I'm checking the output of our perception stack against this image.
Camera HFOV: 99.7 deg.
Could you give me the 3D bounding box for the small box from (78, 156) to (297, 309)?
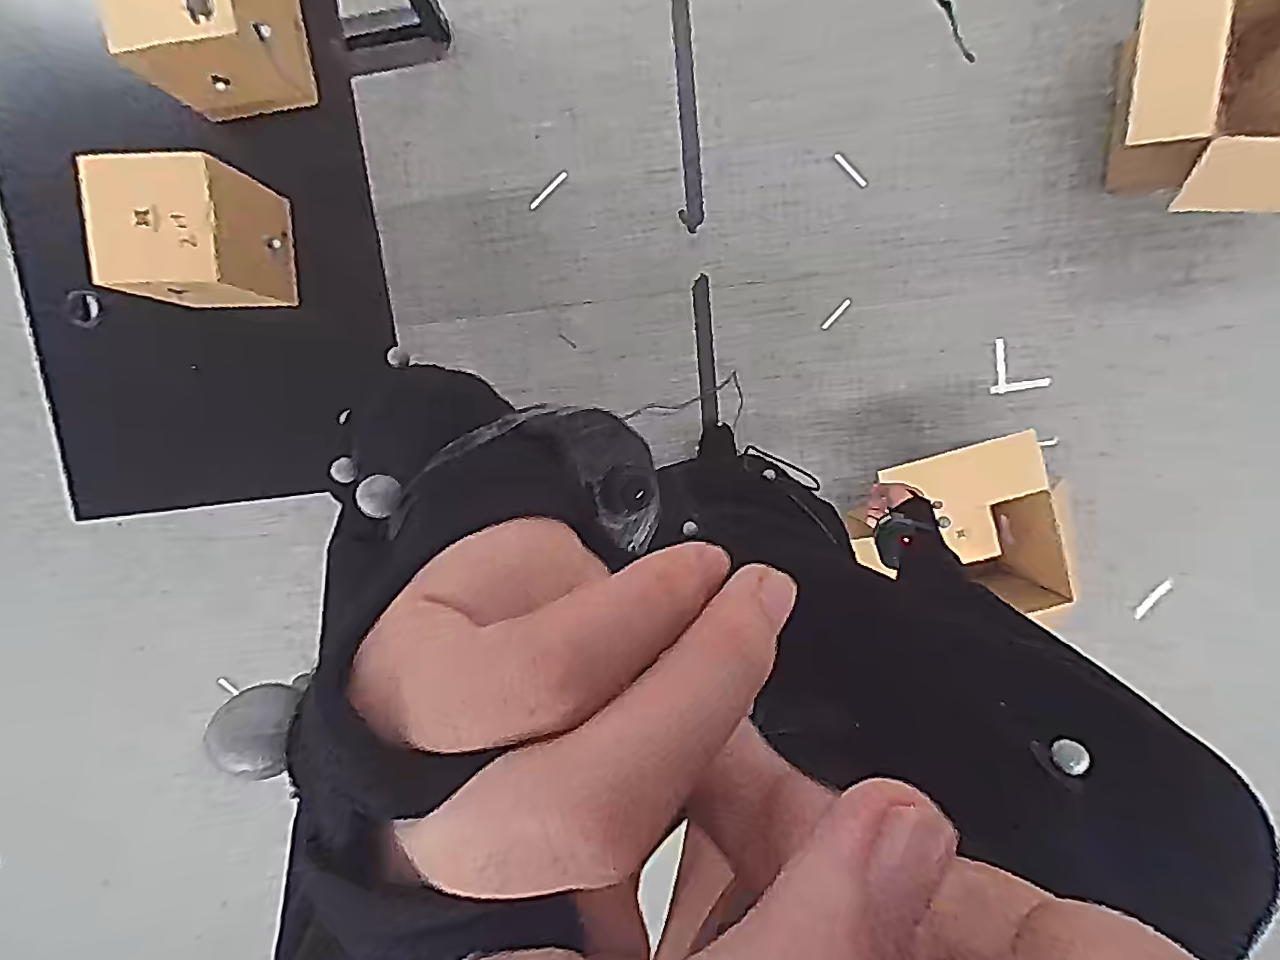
[{"bbox_3d":[-0.650,-0.351,0.797,0.179,0.176,0.168,-1,98,2],"label":"small box"}]
